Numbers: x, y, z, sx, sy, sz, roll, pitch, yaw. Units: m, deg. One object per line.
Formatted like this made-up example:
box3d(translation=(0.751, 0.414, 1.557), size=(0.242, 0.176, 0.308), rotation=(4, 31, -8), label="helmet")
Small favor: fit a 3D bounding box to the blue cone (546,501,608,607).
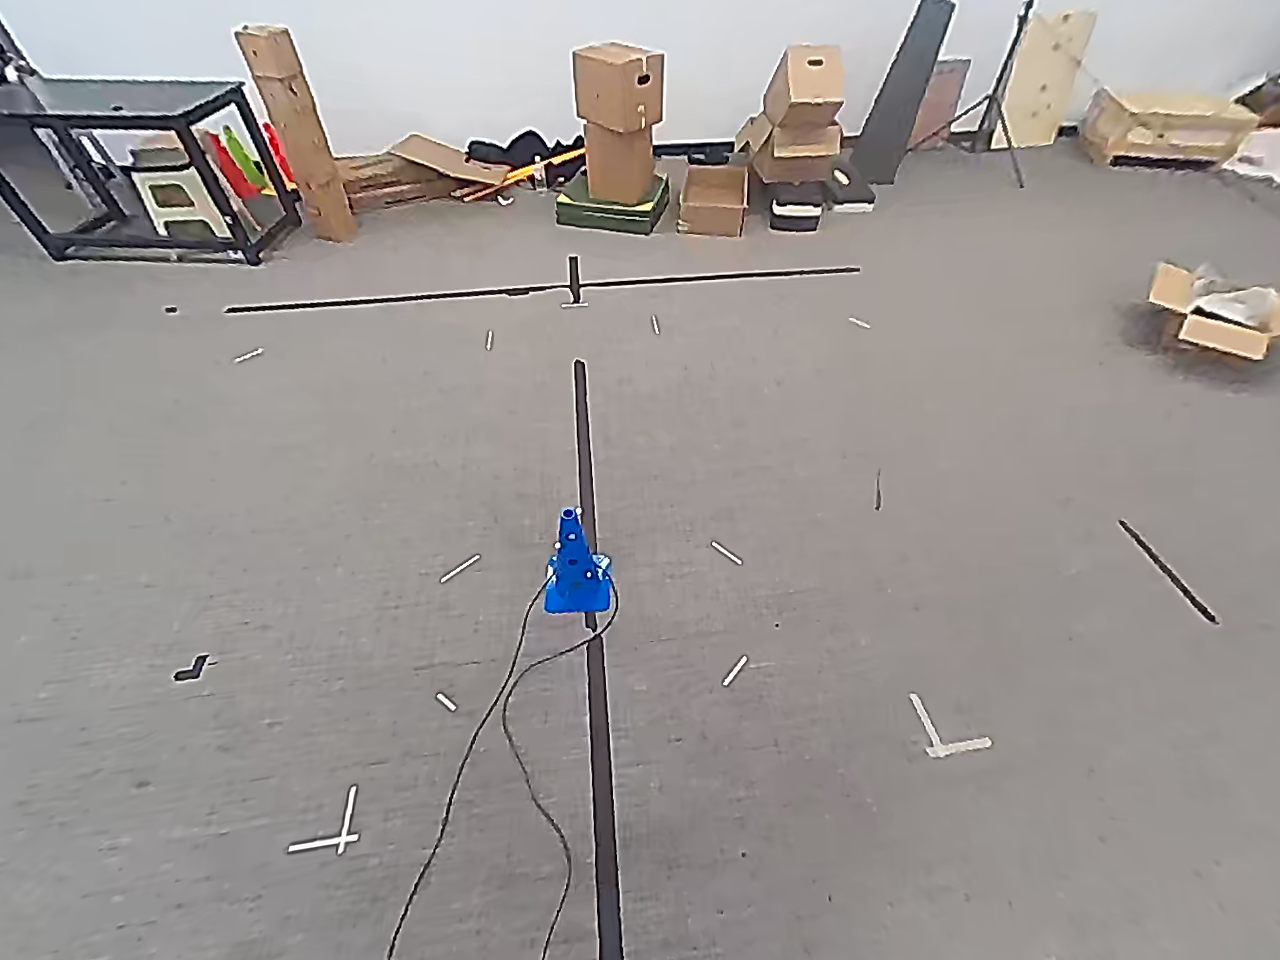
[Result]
box3d(translation=(-0.194, 0.199, 1.548), size=(0.193, 0.380, 0.192), rotation=(-3, 49, -2), label="blue cone")
